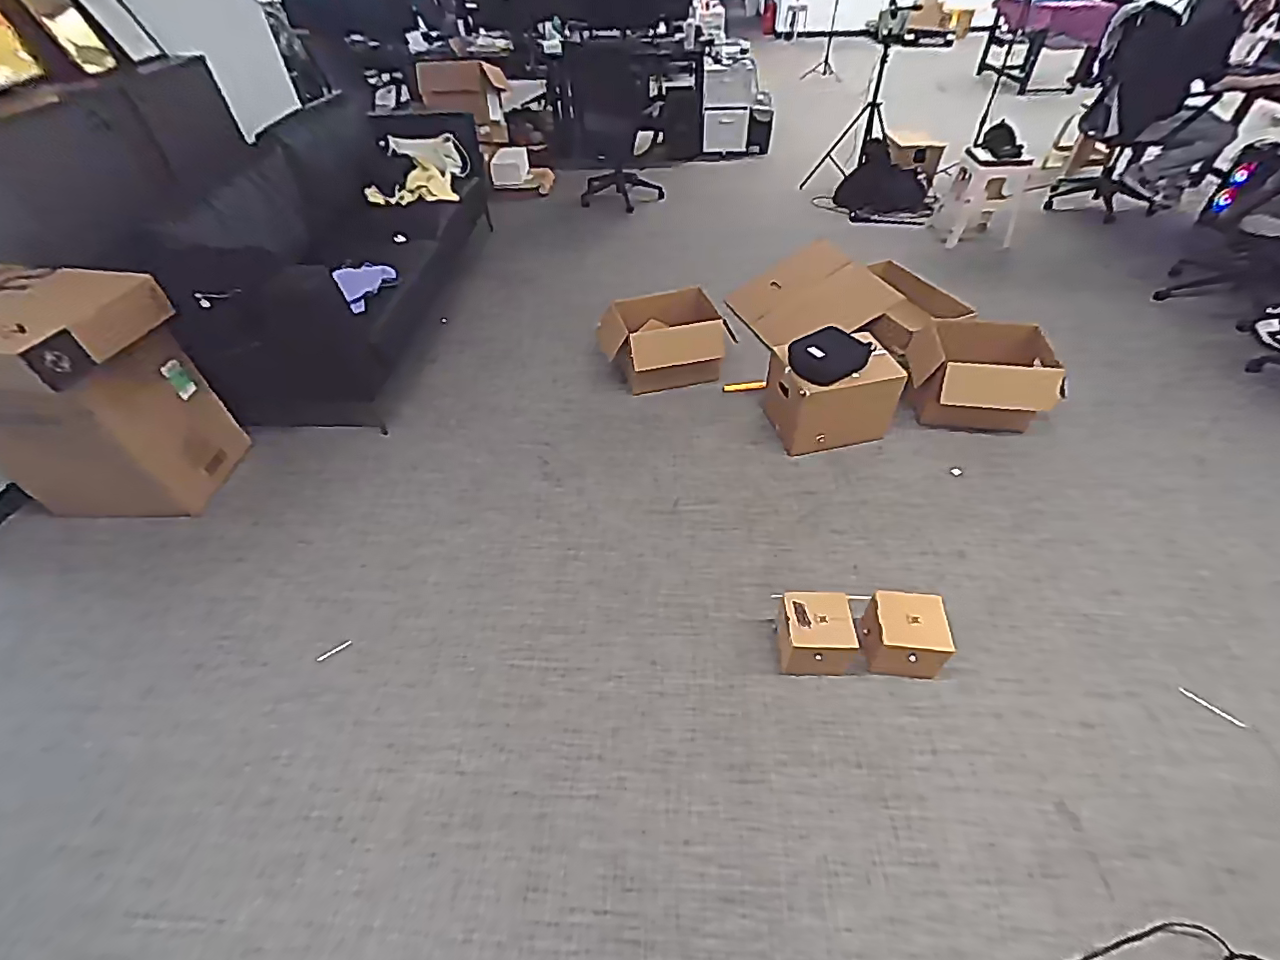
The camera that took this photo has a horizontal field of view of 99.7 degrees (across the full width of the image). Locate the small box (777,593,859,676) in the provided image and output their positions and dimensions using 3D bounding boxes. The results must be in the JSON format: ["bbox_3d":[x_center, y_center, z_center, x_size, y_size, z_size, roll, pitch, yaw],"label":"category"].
[{"bbox_3d":[0.483,0.430,1.501,0.179,0.176,0.168,1,46,3],"label":"small box"}]

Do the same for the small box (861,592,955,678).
[{"bbox_3d":[0.729,0.430,1.489,0.179,0.176,0.168,3,47,8],"label":"small box"}]
